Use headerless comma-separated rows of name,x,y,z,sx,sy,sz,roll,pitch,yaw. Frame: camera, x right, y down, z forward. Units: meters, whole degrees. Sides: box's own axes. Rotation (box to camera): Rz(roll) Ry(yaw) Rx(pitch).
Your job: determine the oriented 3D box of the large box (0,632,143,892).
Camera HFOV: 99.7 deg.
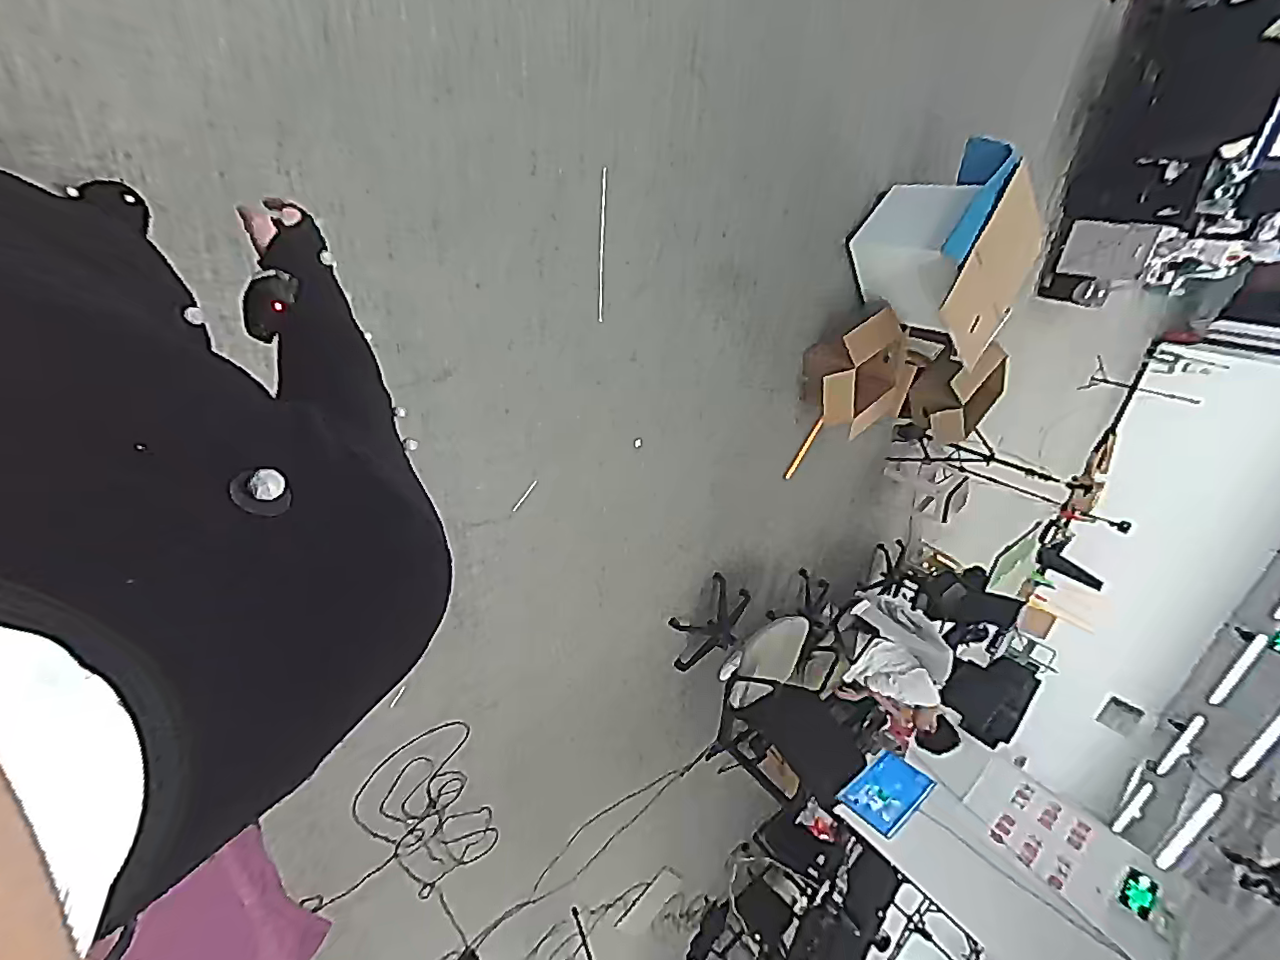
large box,-1.399,0.633,1.225,0.320,0.320,0.408,-16,124,-35
